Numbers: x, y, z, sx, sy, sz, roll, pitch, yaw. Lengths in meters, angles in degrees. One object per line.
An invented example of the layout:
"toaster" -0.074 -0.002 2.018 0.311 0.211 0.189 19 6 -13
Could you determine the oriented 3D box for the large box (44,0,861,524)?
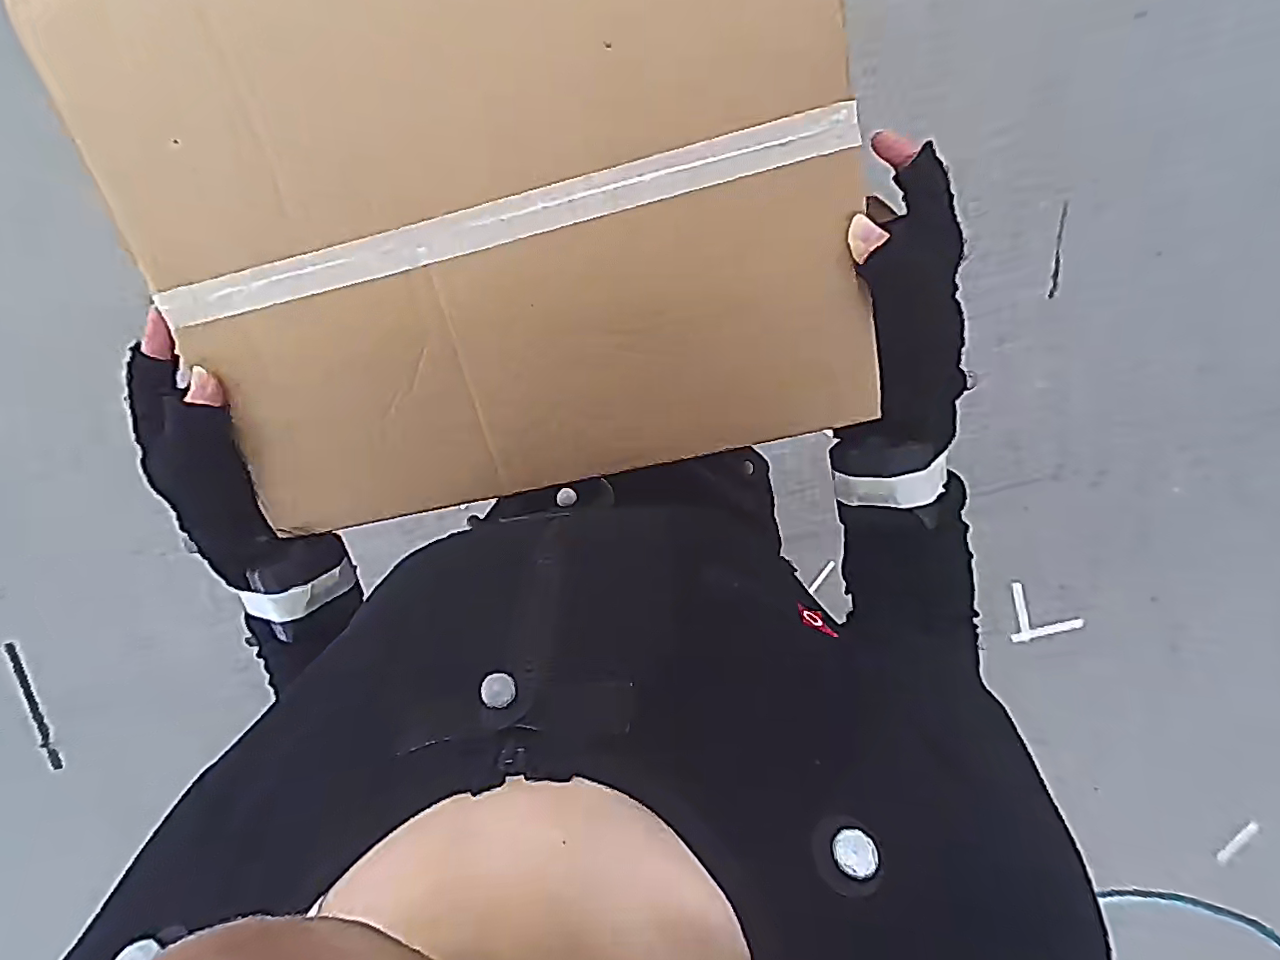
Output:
"large box" -0.082 -0.201 0.448 0.408 0.320 0.320 -12 109 7
